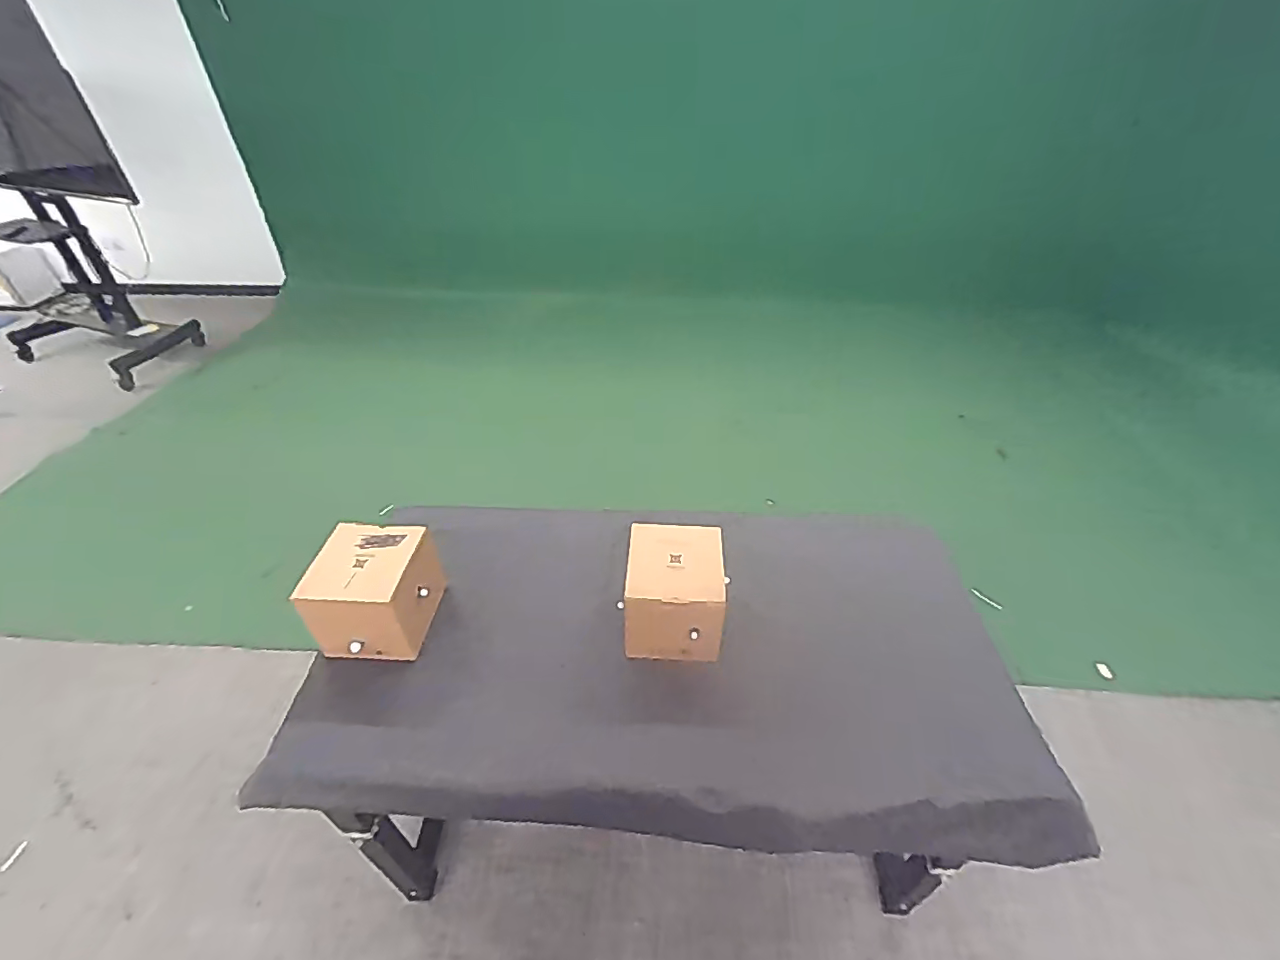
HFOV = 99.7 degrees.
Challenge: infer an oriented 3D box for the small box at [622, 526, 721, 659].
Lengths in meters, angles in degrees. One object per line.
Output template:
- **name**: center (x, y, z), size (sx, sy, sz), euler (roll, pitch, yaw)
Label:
- **small box**: center (0.055, 0.207, 0.989), size (0.168, 0.176, 0.179), euler (3, 39, 1)

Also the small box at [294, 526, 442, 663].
- **small box**: center (-0.476, 0.206, 0.981), size (0.168, 0.176, 0.179), euler (2, 40, 1)
